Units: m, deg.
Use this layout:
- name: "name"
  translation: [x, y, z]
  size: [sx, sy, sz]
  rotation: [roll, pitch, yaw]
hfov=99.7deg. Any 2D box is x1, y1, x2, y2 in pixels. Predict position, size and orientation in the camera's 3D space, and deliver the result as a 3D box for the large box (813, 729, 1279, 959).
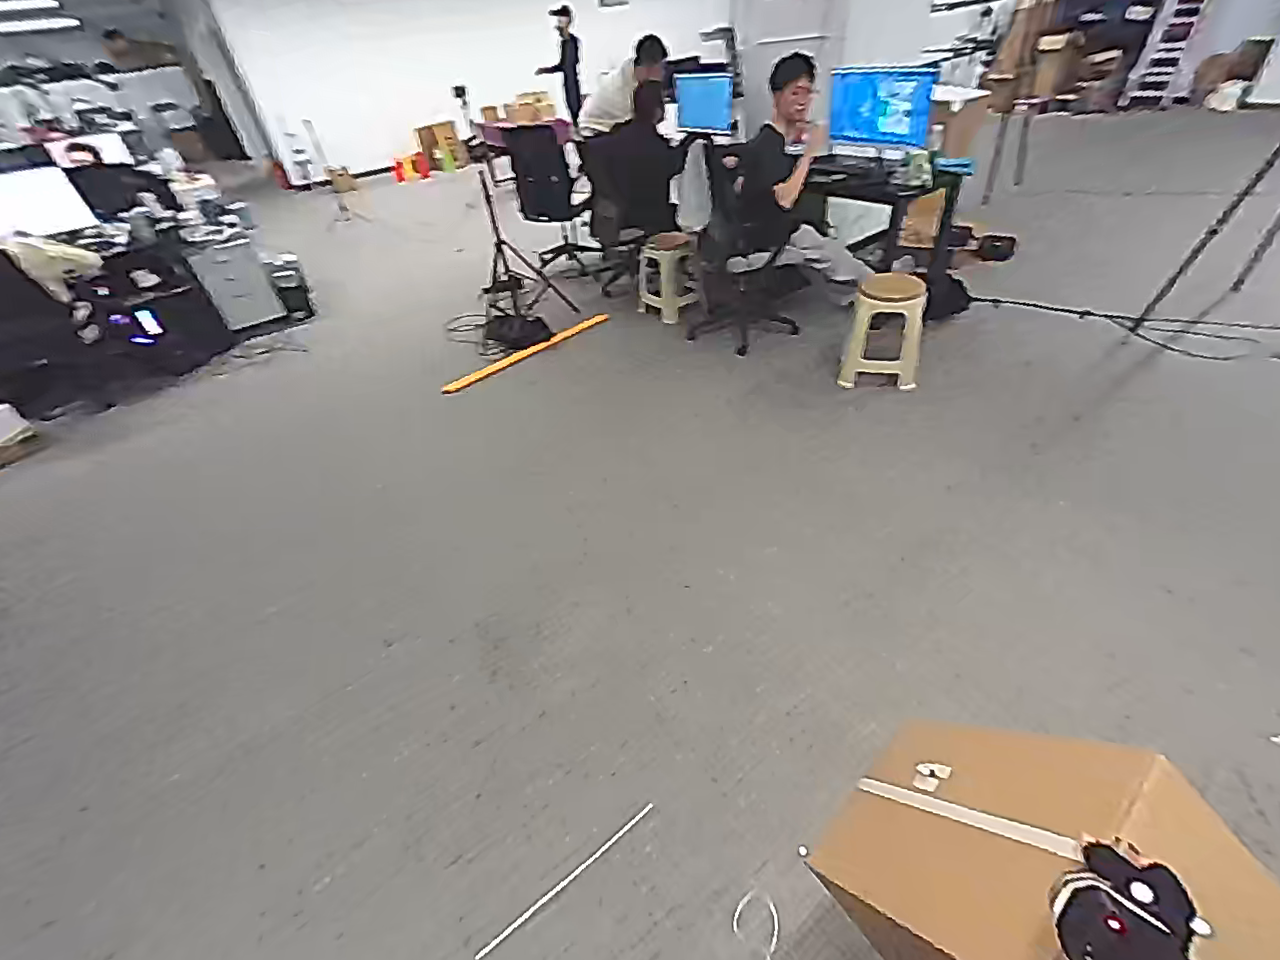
- name: "large box"
  translation: [0.527, 0.579, 0.720]
  size: [0.320, 0.408, 0.320]
  rotation: [-36, 82, -23]
